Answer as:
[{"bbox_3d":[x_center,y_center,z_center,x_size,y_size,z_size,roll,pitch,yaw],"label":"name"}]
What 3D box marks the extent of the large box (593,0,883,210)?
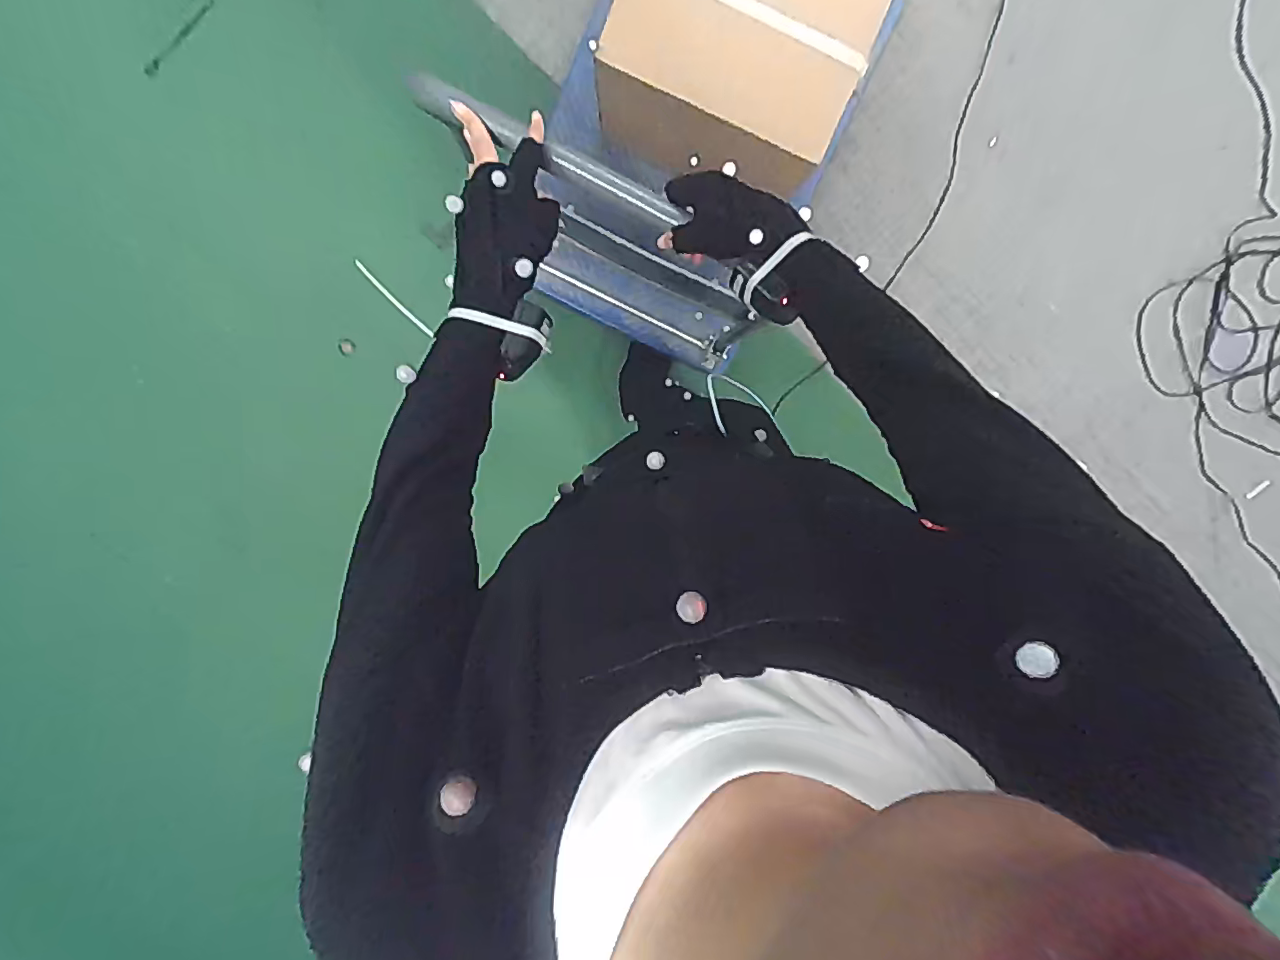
[{"bbox_3d":[0.163,-0.766,0.996,0.408,0.320,0.320,22,98,-5],"label":"large box"}]
